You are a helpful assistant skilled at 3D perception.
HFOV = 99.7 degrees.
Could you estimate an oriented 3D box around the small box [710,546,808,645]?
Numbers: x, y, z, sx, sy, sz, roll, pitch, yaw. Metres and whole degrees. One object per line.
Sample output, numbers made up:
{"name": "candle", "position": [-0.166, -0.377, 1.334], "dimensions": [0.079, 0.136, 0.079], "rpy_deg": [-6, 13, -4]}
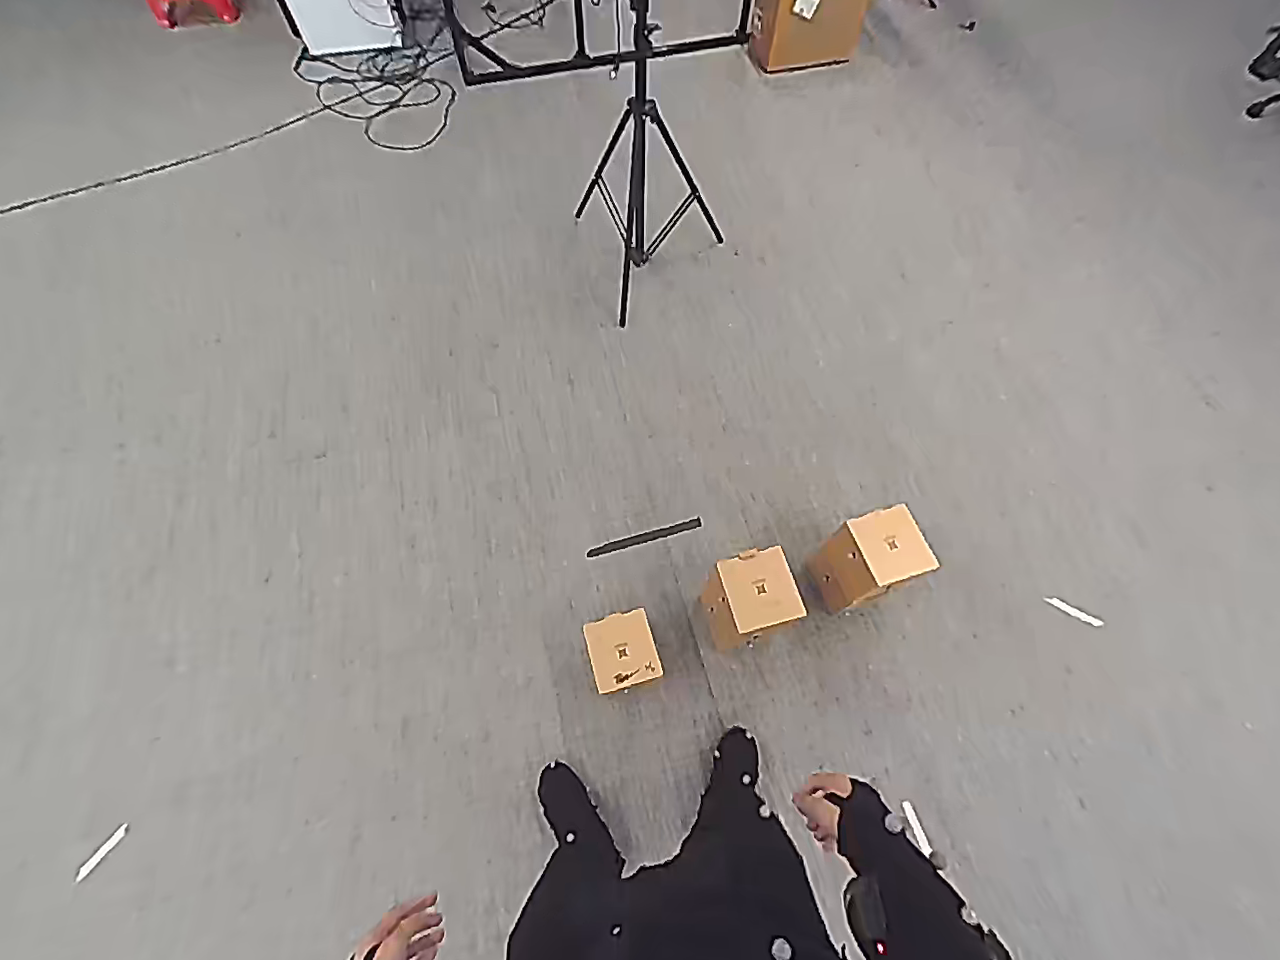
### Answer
{"name": "small box", "position": [0.277, 0.282, 1.309], "dimensions": [0.168, 0.176, 0.179], "rpy_deg": [-13, 65, -6]}

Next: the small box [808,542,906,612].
{"name": "small box", "position": [0.598, 0.259, 1.508], "dimensions": [0.168, 0.176, 0.179], "rpy_deg": [-16, 65, -9]}

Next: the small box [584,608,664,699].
{"name": "small box", "position": [-0.043, 0.456, 1.407], "dimensions": [0.168, 0.176, 0.179], "rpy_deg": [-15, 65, -7]}

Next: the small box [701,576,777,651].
{"name": "small box", "position": [0.272, 0.348, 1.460], "dimensions": [0.168, 0.176, 0.179], "rpy_deg": [-13, 66, -7]}

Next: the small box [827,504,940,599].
{"name": "small box", "position": [0.603, 0.188, 1.362], "dimensions": [0.168, 0.176, 0.179], "rpy_deg": [-16, 65, -8]}
